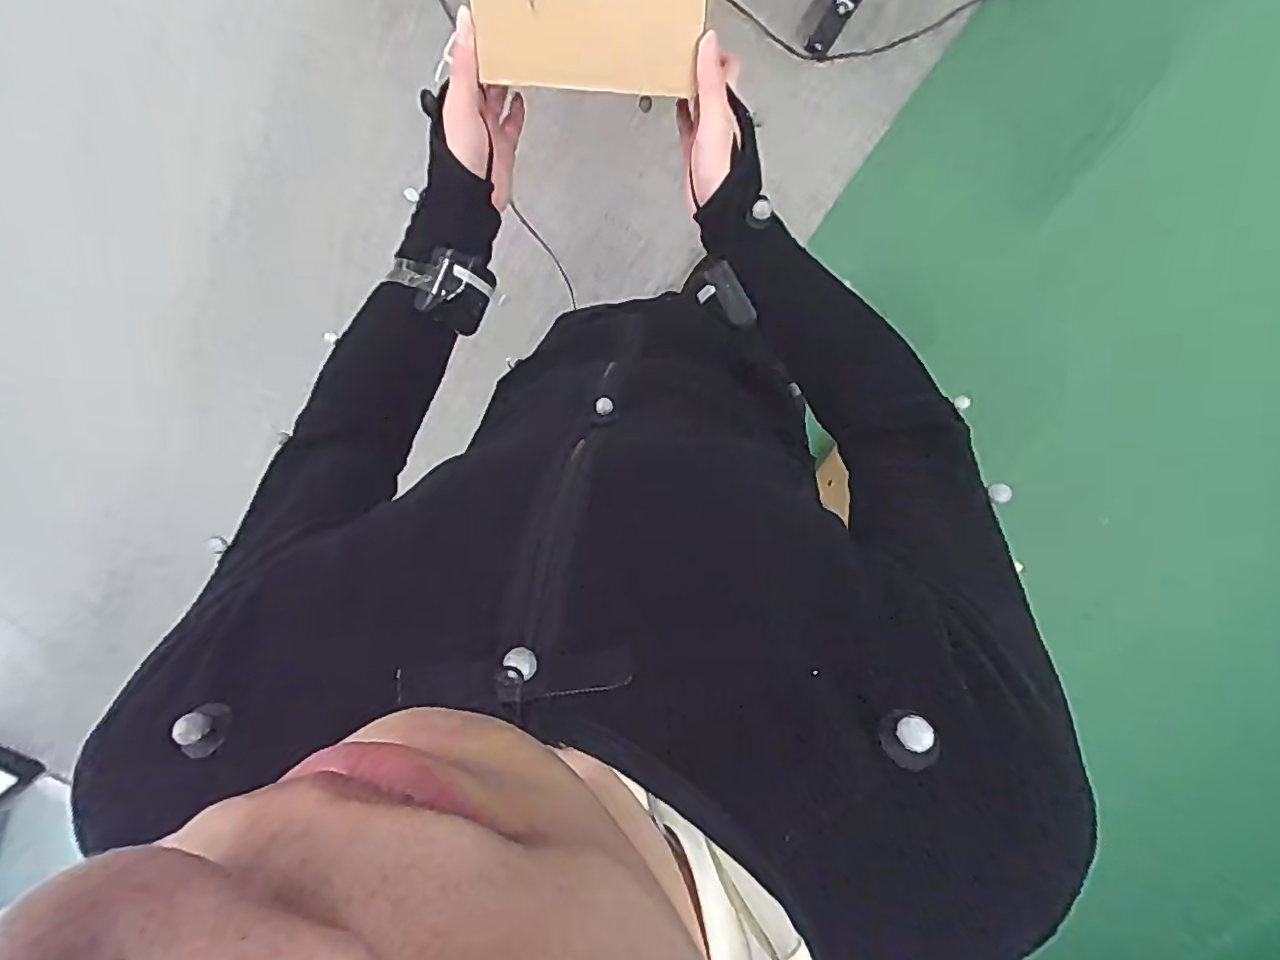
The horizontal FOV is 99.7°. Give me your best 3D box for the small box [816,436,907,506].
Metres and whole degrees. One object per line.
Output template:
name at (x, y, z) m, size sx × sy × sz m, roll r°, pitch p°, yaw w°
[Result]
small box at (0.627, 0.002, 1.548) m, size 0.168 × 0.176 × 0.179 m, roll 30°, pitch 110°, yaw -7°
